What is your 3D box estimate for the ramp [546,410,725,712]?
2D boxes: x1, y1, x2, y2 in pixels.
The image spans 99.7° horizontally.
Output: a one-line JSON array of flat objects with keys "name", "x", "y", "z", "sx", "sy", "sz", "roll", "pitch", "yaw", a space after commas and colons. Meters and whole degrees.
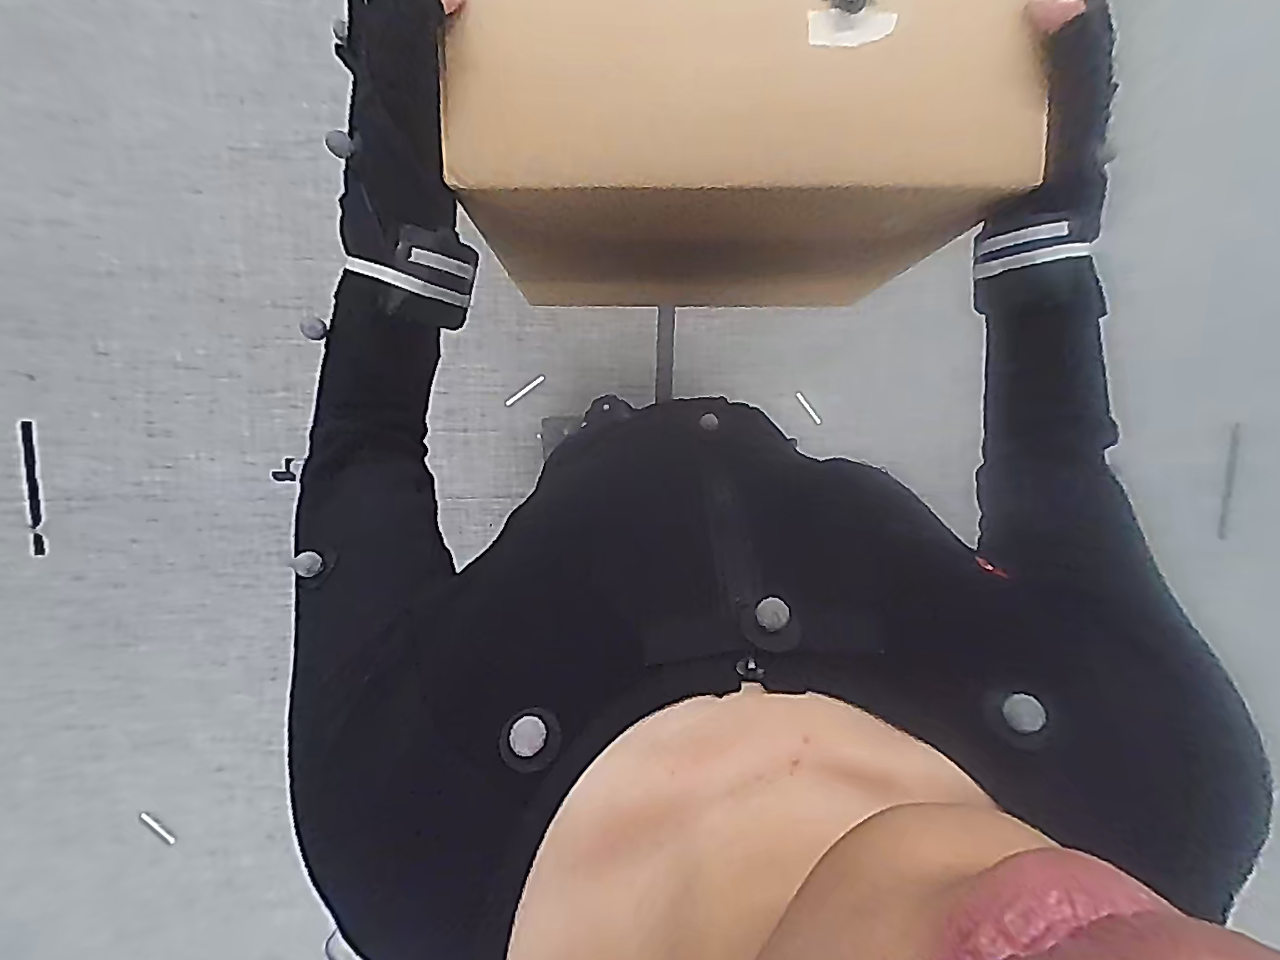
[{"name": "ramp", "x": -0.012, "y": 0.281, "z": 1.621, "sx": 0.509, "sy": 0.206, "sz": 0.991, "roll": -2, "pitch": 99, "yaw": -3}]

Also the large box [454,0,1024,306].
[{"name": "large box", "x": 0.064, "y": -0.368, "z": 0.521, "sx": 0.408, "sy": 0.320, "sz": 0.320, "roll": -1, "pitch": 93, "yaw": -1}]
